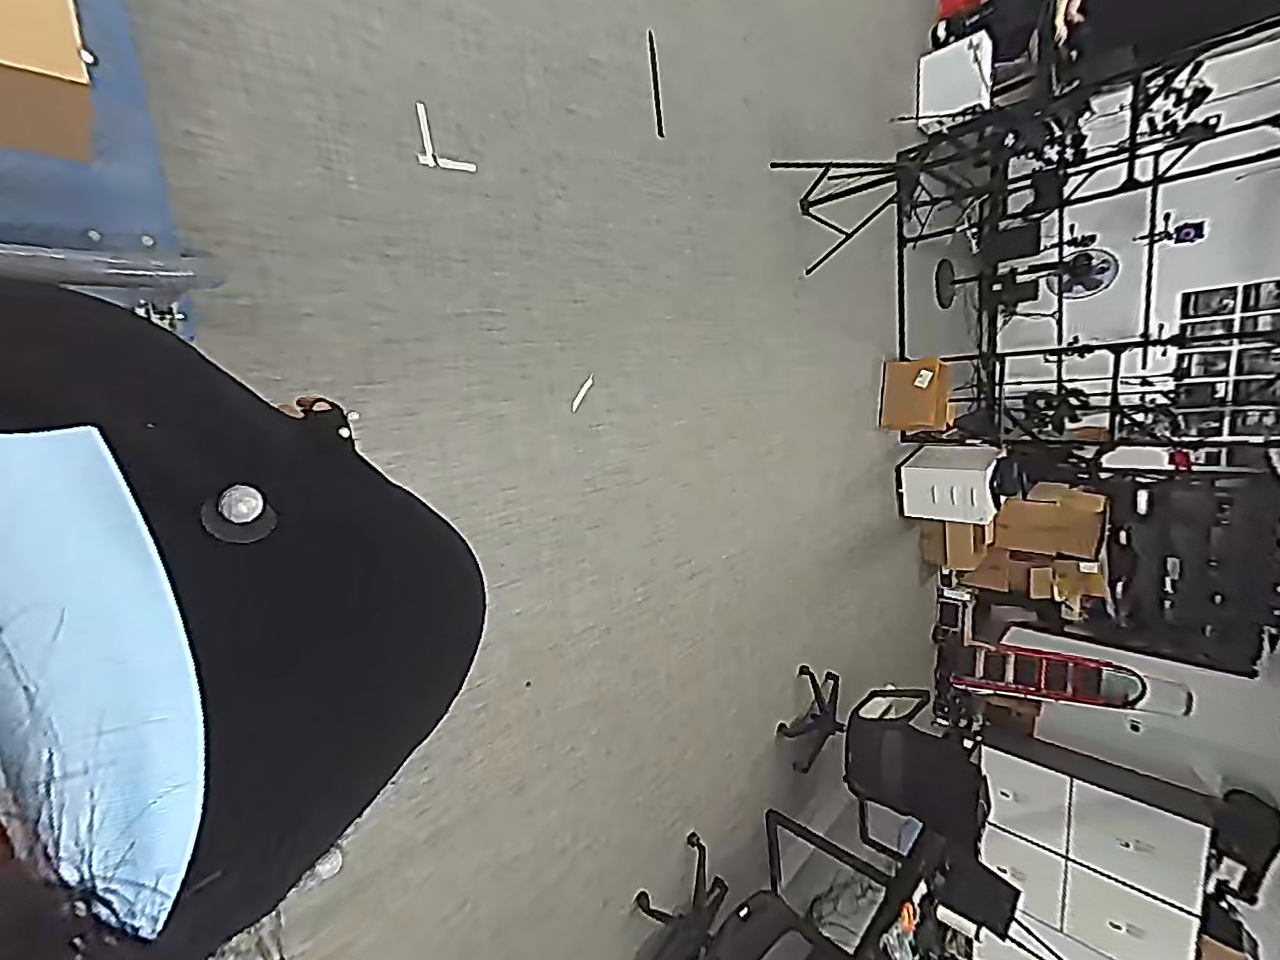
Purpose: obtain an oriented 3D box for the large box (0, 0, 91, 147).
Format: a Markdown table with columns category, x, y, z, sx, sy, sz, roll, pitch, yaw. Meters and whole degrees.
| category | x | y | z | sx | sy | sz | roll | pitch | yaw |
| --- | --- | --- | --- | --- | --- | --- | --- | --- | --- |
| large box | -0.997 | -0.672 | 0.668 | 0.408 | 0.320 | 0.320 | -12 | 102 | -43 |
